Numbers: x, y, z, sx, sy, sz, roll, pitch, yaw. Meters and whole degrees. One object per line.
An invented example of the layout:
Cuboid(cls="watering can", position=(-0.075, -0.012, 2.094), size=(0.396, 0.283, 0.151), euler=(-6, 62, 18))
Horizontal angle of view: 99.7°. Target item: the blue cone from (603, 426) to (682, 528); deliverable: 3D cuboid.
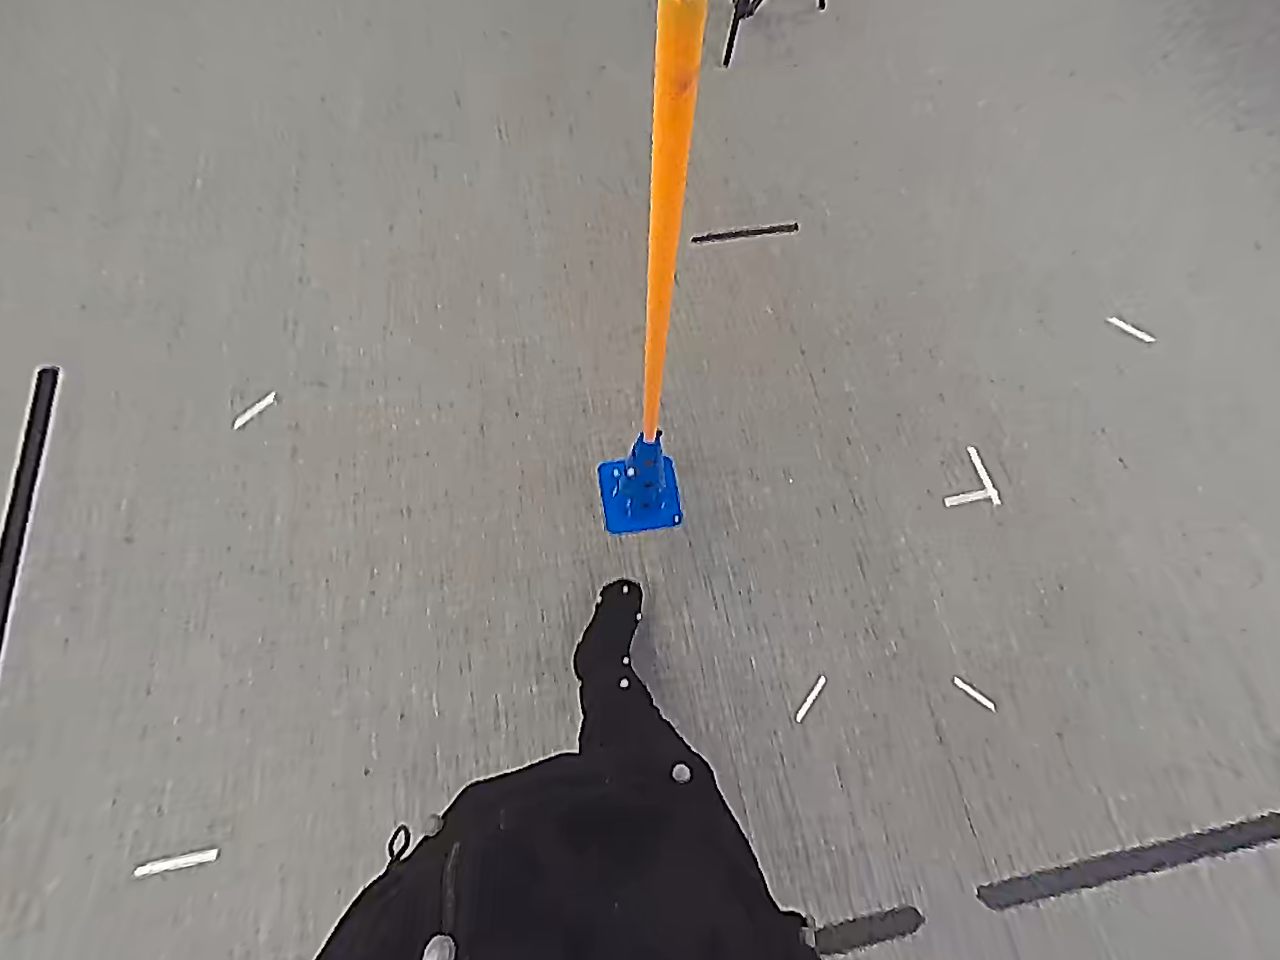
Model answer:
Cuboid(cls="blue cone", position=(0.016, -0.027, 1.254), size=(0.192, 0.380, 0.193), euler=(-5, 70, -6))
